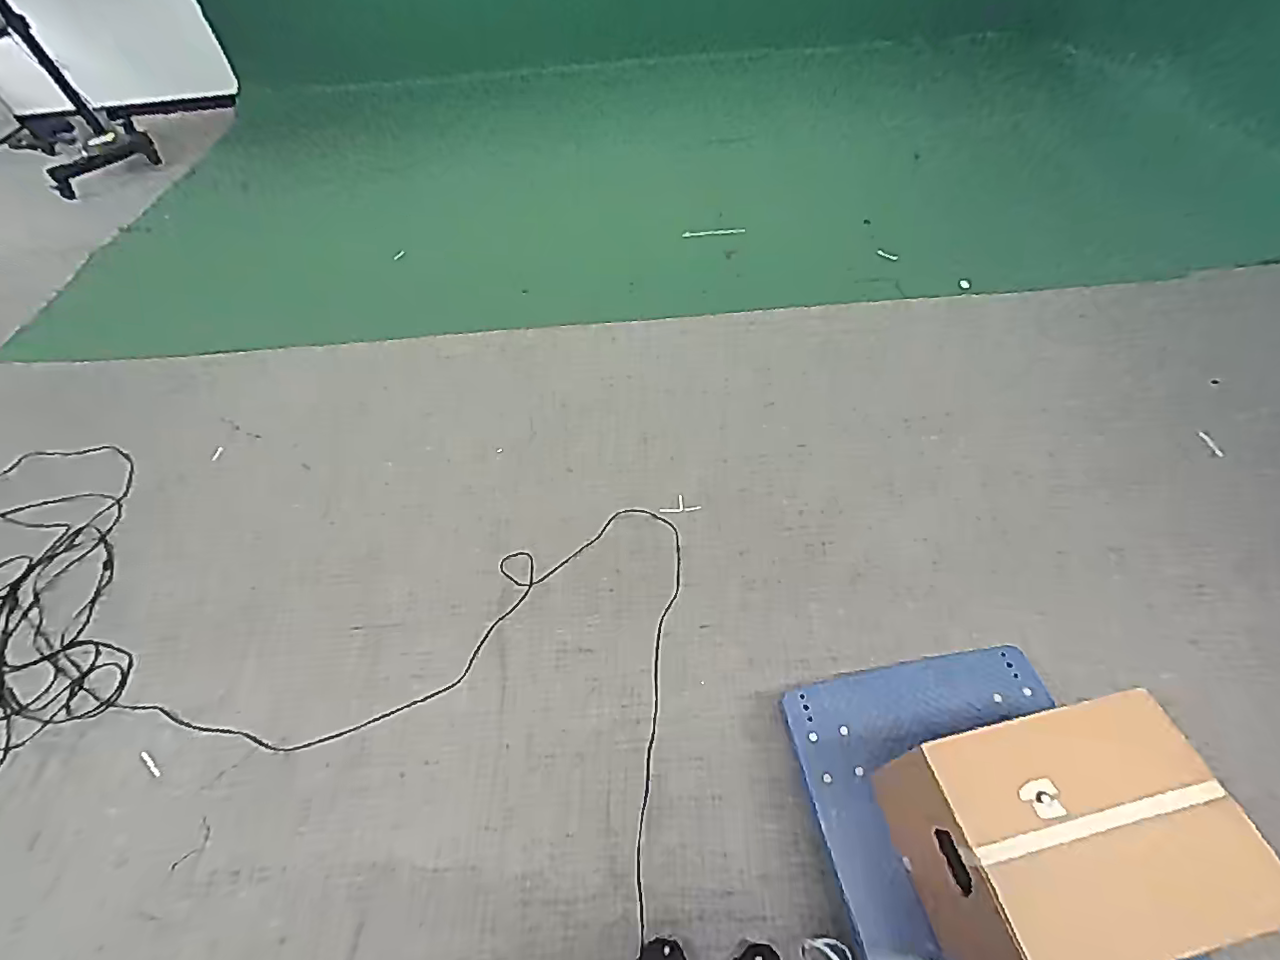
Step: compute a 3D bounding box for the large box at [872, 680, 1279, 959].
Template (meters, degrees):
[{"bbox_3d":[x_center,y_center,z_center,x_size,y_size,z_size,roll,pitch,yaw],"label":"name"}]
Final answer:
[{"bbox_3d":[0.693,0.587,0.933,0.408,0.320,0.320,-13,53,-4],"label":"large box"}]
